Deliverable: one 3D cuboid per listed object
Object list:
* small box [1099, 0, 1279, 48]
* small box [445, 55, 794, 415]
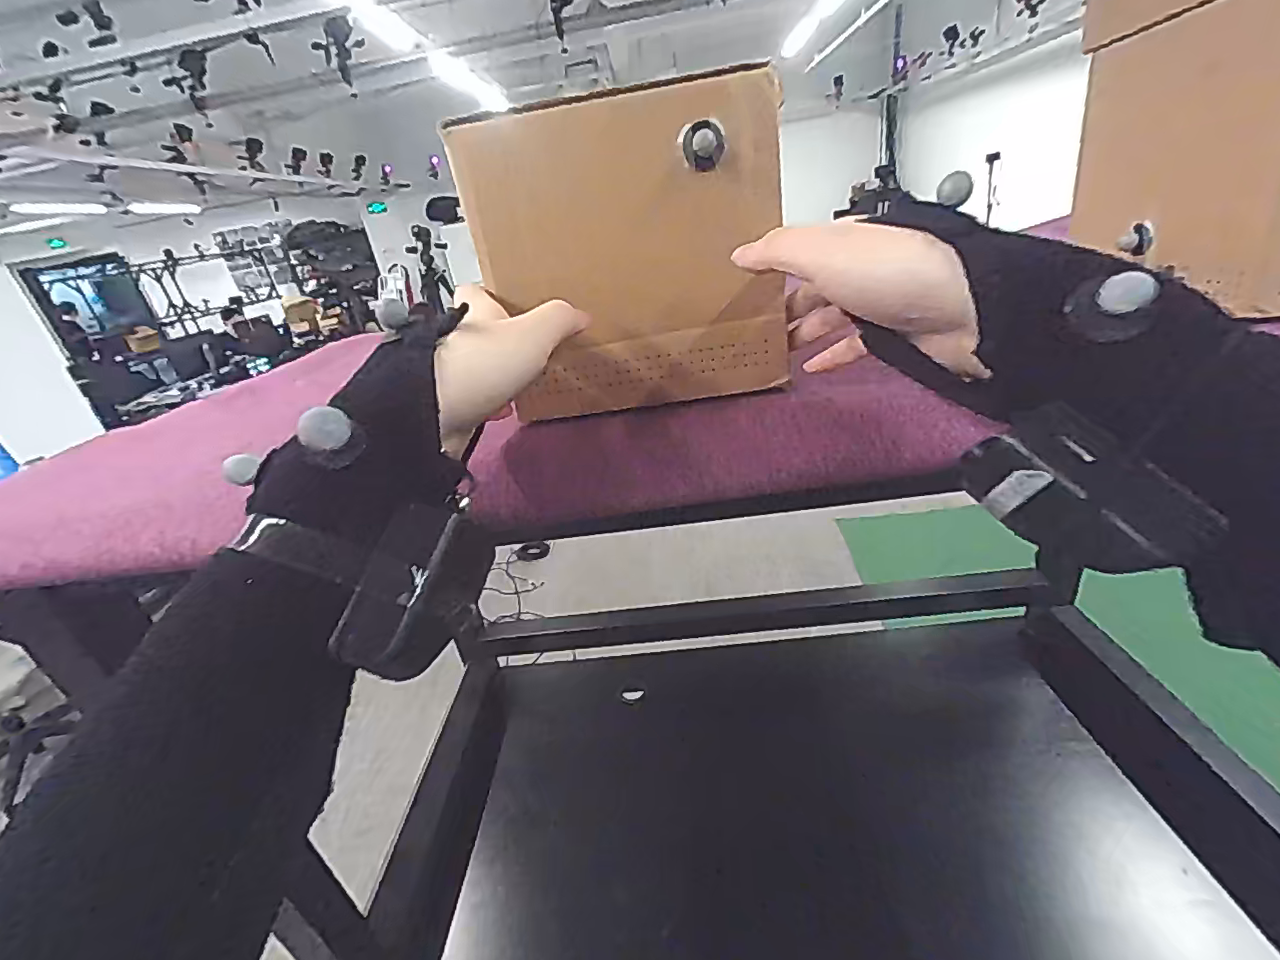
[{"bbox_3d":[0.379,-0.353,0.265,0.168,0.176,0.179,-8,24,8],"label":"small box"},{"bbox_3d":[-0.001,-0.150,0.369,0.179,0.176,0.168,-7,25,4],"label":"small box"}]
